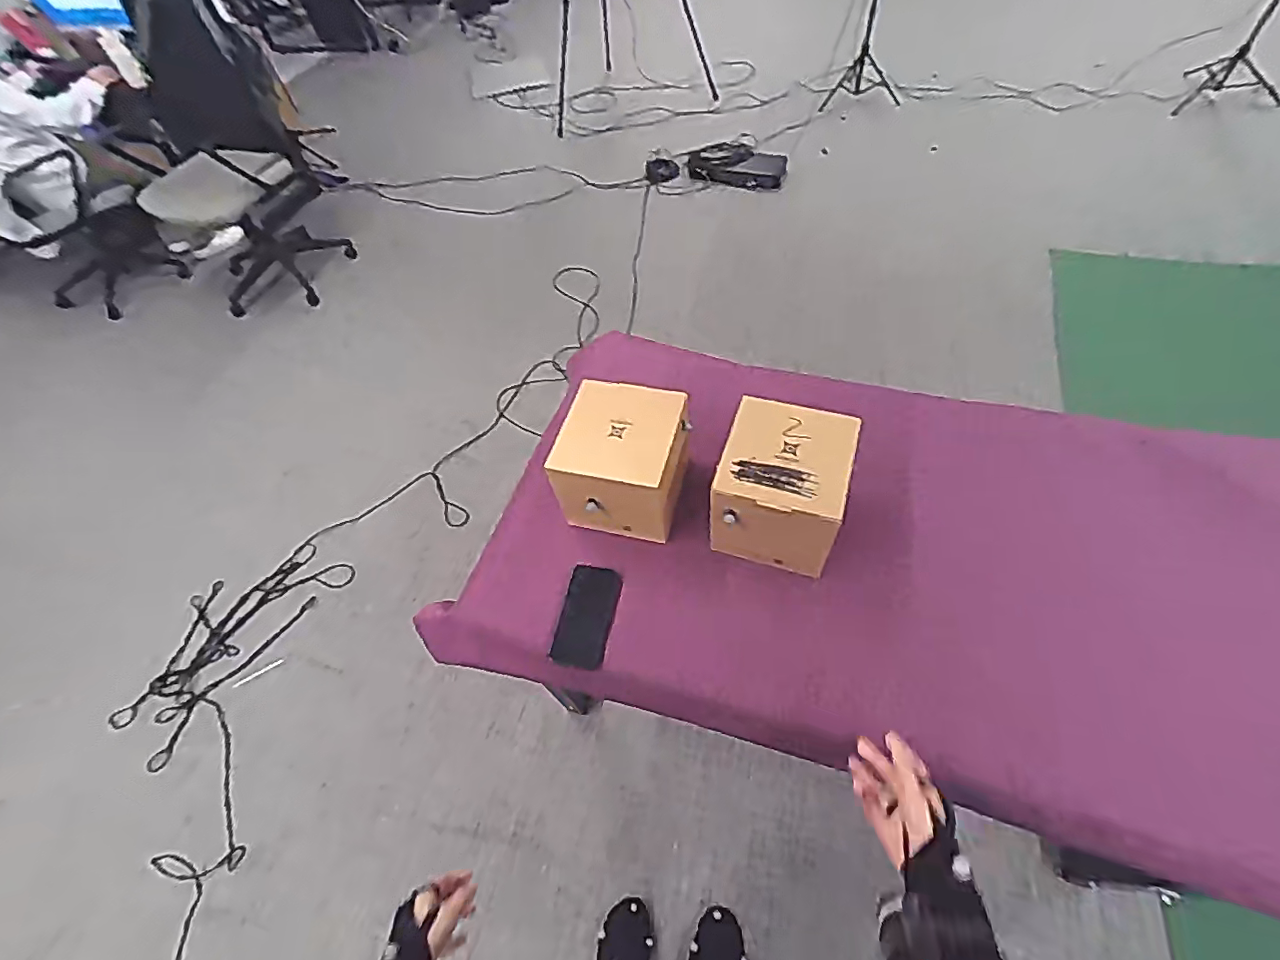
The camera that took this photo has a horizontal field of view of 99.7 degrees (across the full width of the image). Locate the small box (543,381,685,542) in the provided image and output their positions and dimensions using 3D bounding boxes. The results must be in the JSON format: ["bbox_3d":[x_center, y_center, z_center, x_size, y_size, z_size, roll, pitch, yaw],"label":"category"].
[{"bbox_3d":[-0.026,-0.025,0.837,0.168,0.176,0.179,9,56,13],"label":"small box"}]
